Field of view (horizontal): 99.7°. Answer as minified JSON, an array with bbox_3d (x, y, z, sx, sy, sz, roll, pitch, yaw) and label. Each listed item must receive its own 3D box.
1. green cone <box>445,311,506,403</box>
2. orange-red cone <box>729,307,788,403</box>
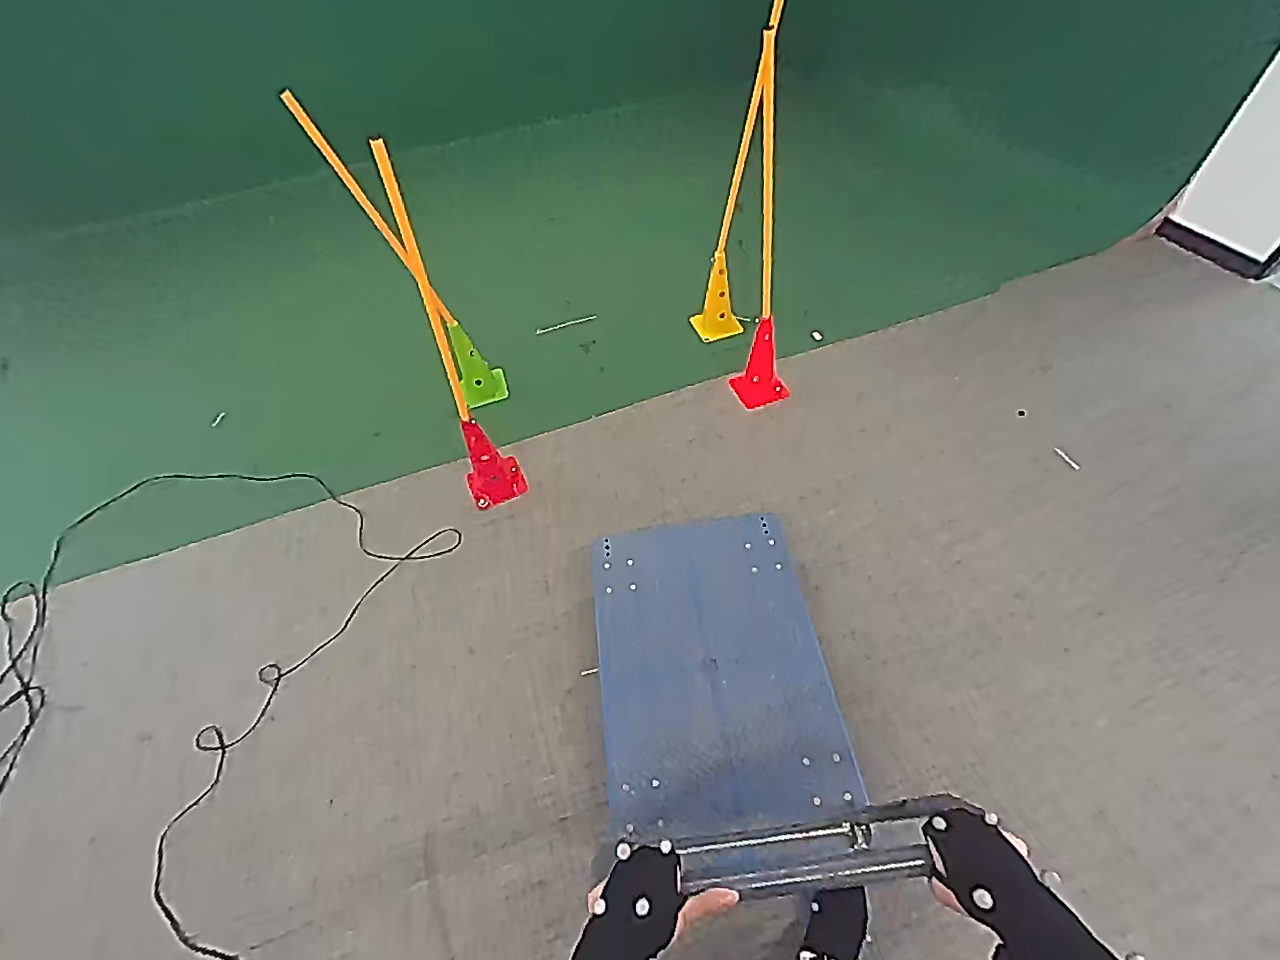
[{"bbox_3d":[-0.713,-0.529,2.228,0.200,0.368,0.202,-19,52,-7],"label":"green cone"},{"bbox_3d":[0.468,-0.504,2.084,0.198,0.360,0.199,-18,51,-8],"label":"orange-red cone"}]
